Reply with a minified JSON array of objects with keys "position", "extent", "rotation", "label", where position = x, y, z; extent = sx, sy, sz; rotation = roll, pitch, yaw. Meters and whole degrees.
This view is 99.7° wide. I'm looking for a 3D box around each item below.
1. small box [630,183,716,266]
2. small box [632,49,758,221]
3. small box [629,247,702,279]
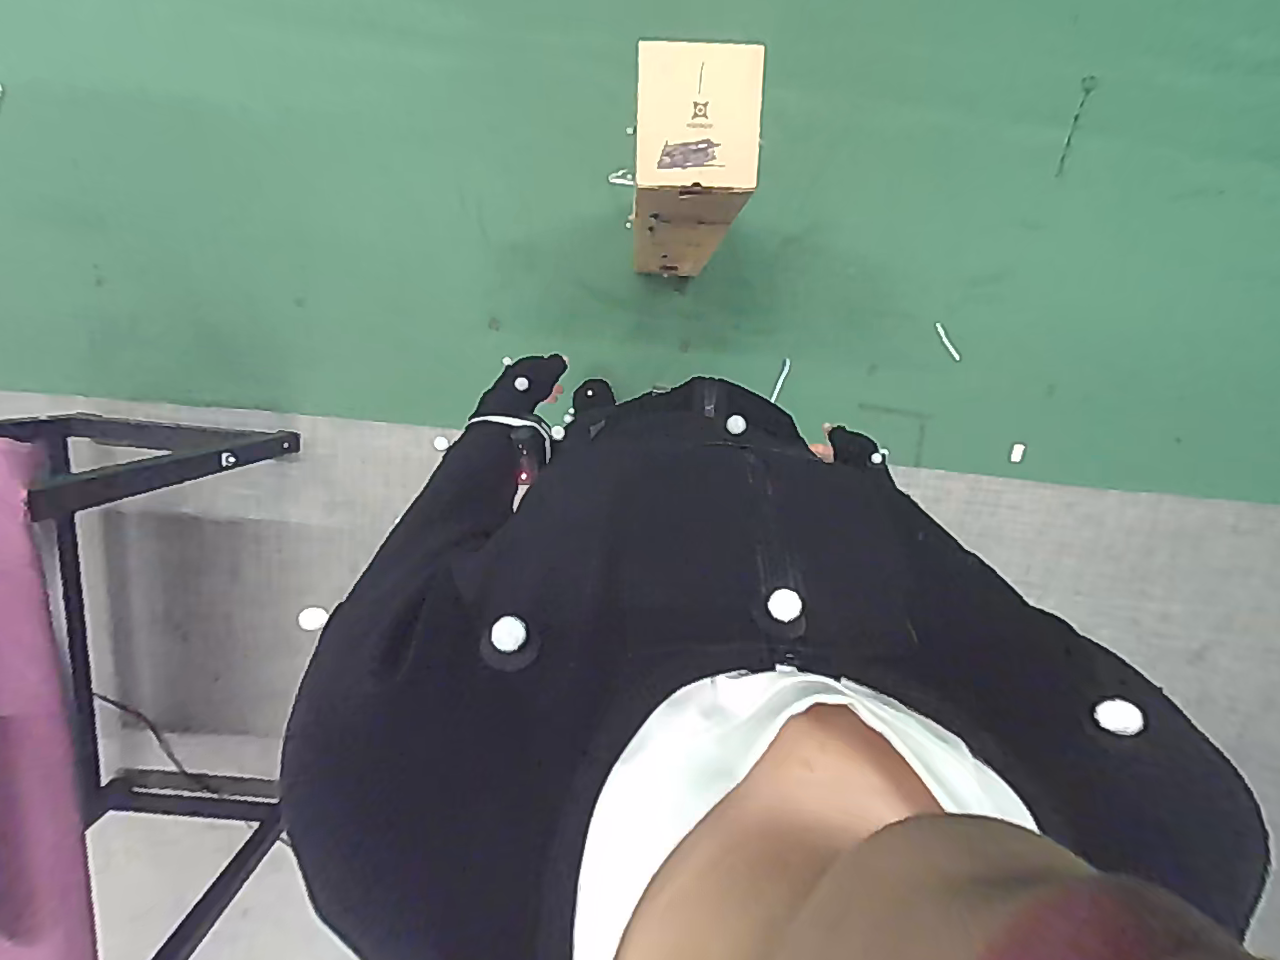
[{"position":[0.065,-0.554,1.116],"extent":[0.168,0.176,0.179],"rotation":[1,102,-2],"label":"small box"},{"position":[0.072,-0.489,0.794],"extent":[0.168,0.176,0.179],"rotation":[-2,103,-1],"label":"small box"},{"position":[0.063,-0.585,1.275],"extent":[0.168,0.176,0.179],"rotation":[4,101,-2],"label":"small box"}]
